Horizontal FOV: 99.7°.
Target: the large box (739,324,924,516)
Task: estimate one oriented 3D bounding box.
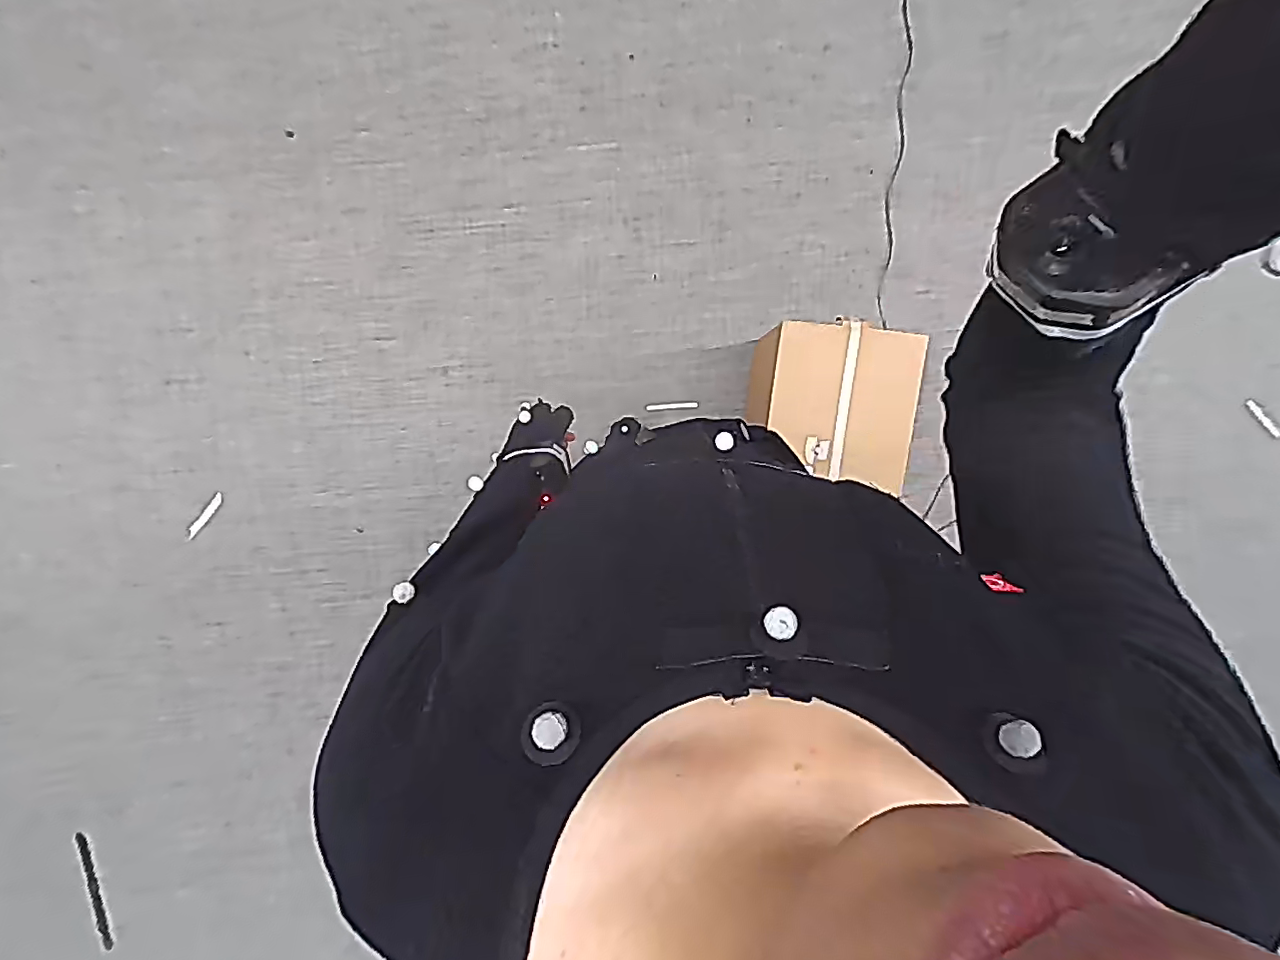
[{"bbox_3d":[0.444,-0.151,1.335,0.320,0.320,0.408,7,98,1],"label":"large box"}]
